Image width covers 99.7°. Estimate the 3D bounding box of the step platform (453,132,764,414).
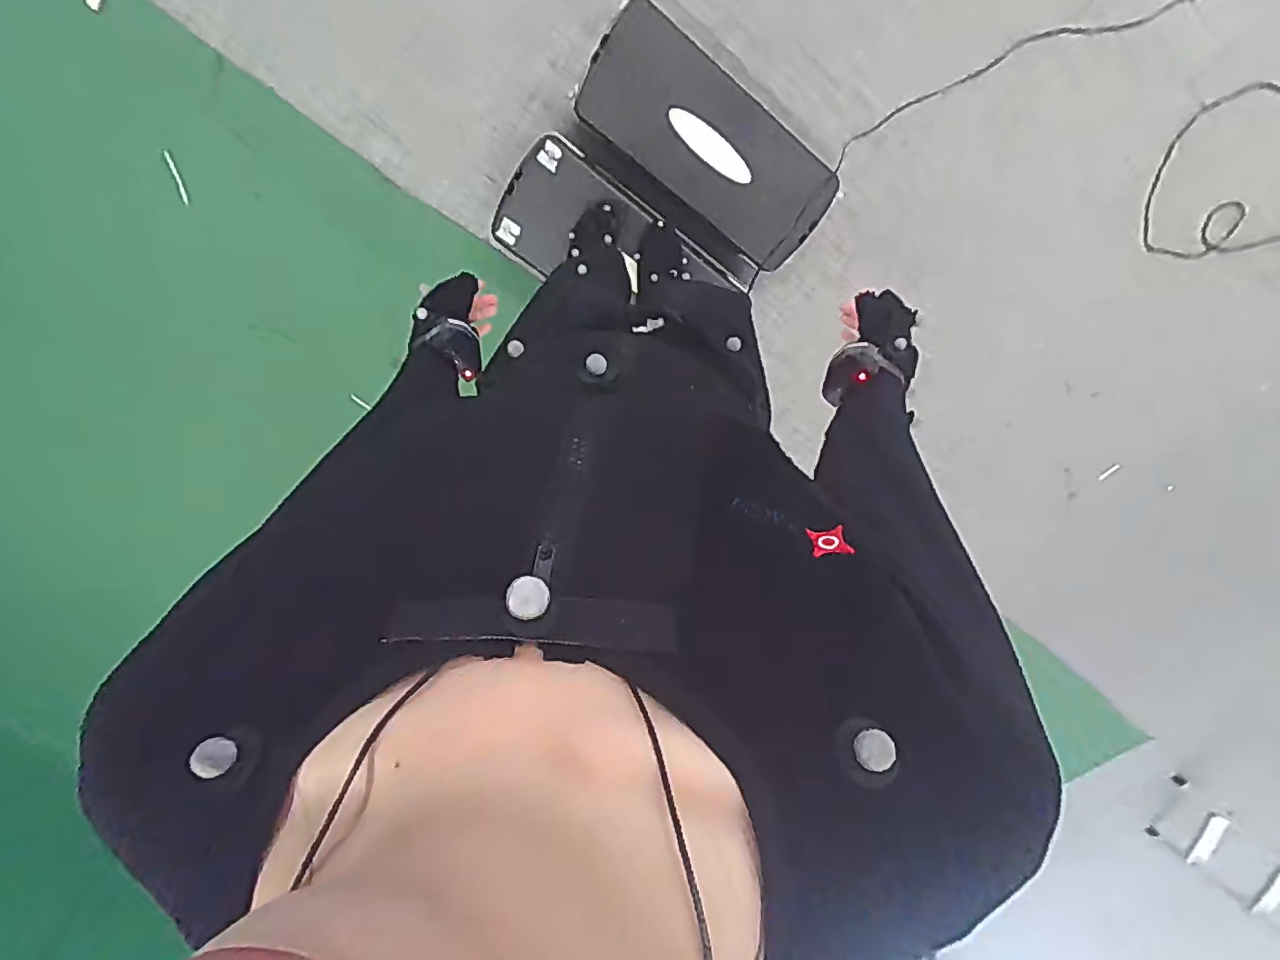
[{"bbox_3d":[-0.057,-0.454,1.248,0.684,0.204,0.286,32,113,-17],"label":"step platform"}]
